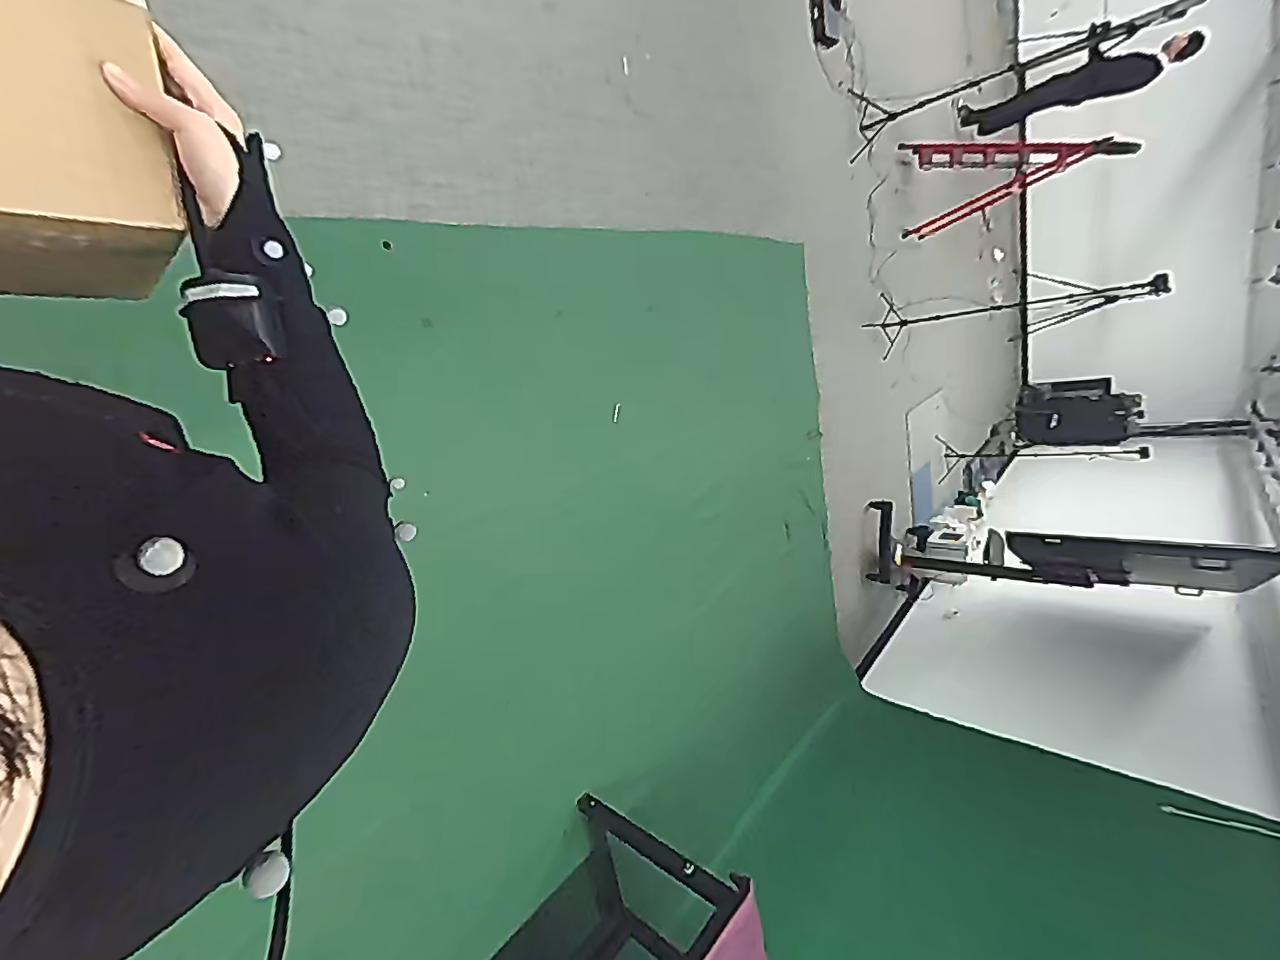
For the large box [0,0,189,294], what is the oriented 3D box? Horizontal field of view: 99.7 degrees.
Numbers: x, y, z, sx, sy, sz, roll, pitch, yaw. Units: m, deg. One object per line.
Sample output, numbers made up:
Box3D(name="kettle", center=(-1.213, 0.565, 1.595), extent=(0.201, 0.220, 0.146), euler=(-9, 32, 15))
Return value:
Box3D(name="large box", center=(-0.601, -0.309, 0.343), extent=(0.408, 0.320, 0.320), euler=(-17, 106, -46))
